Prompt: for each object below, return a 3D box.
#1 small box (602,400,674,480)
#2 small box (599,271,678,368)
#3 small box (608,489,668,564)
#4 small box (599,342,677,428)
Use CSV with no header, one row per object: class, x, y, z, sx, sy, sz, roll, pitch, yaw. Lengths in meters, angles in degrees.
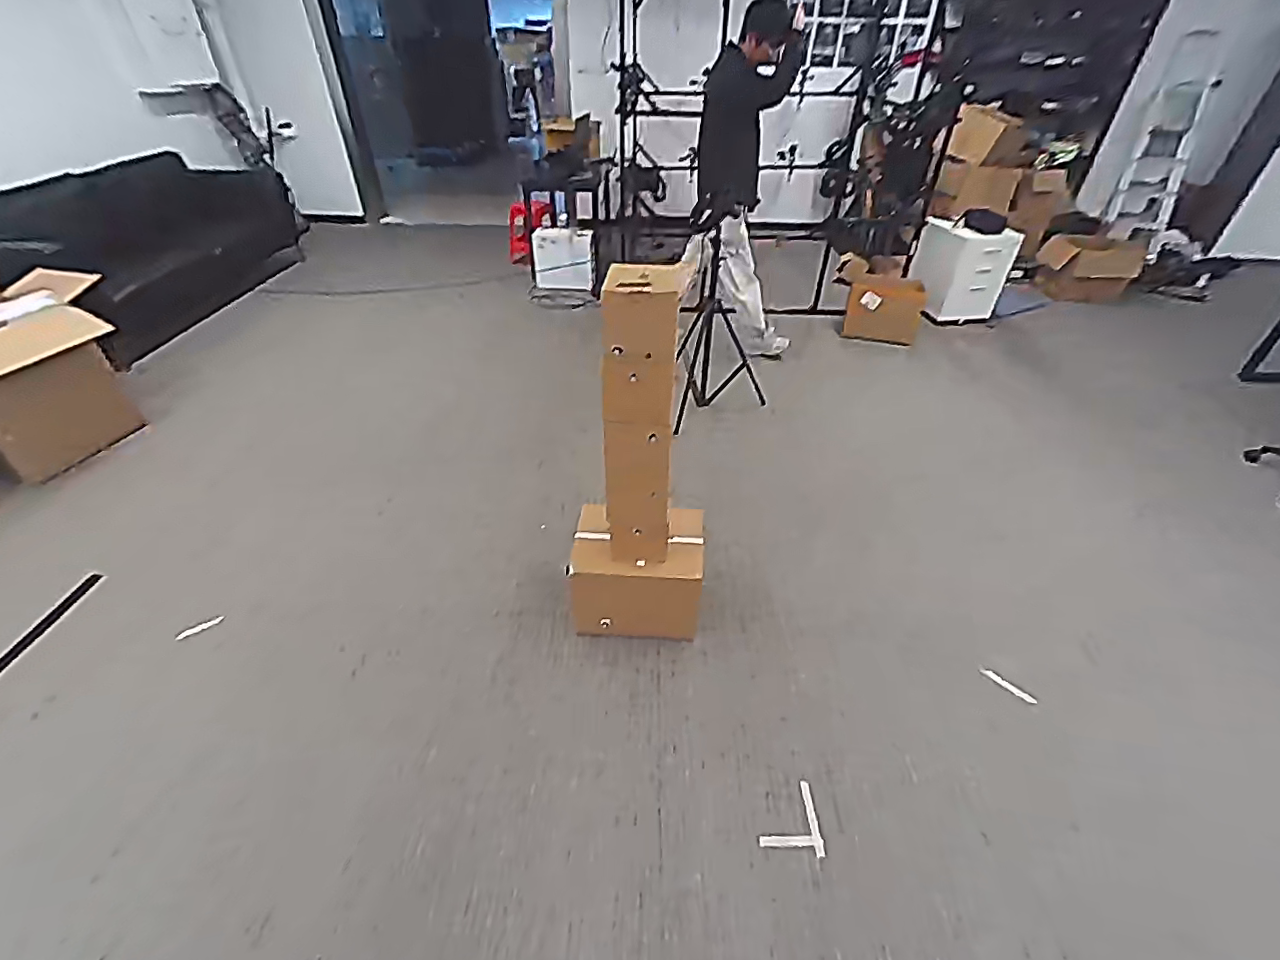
small box,-0.004,-0.116,1.455,0.179,0.176,0.168,3,38,3
small box,0.001,-0.372,1.253,0.168,0.176,0.179,3,38,4
small box,-0.005,0.143,1.657,0.179,0.176,0.168,2,39,0
small box,-0.003,-0.243,1.355,0.179,0.176,0.168,3,39,4
